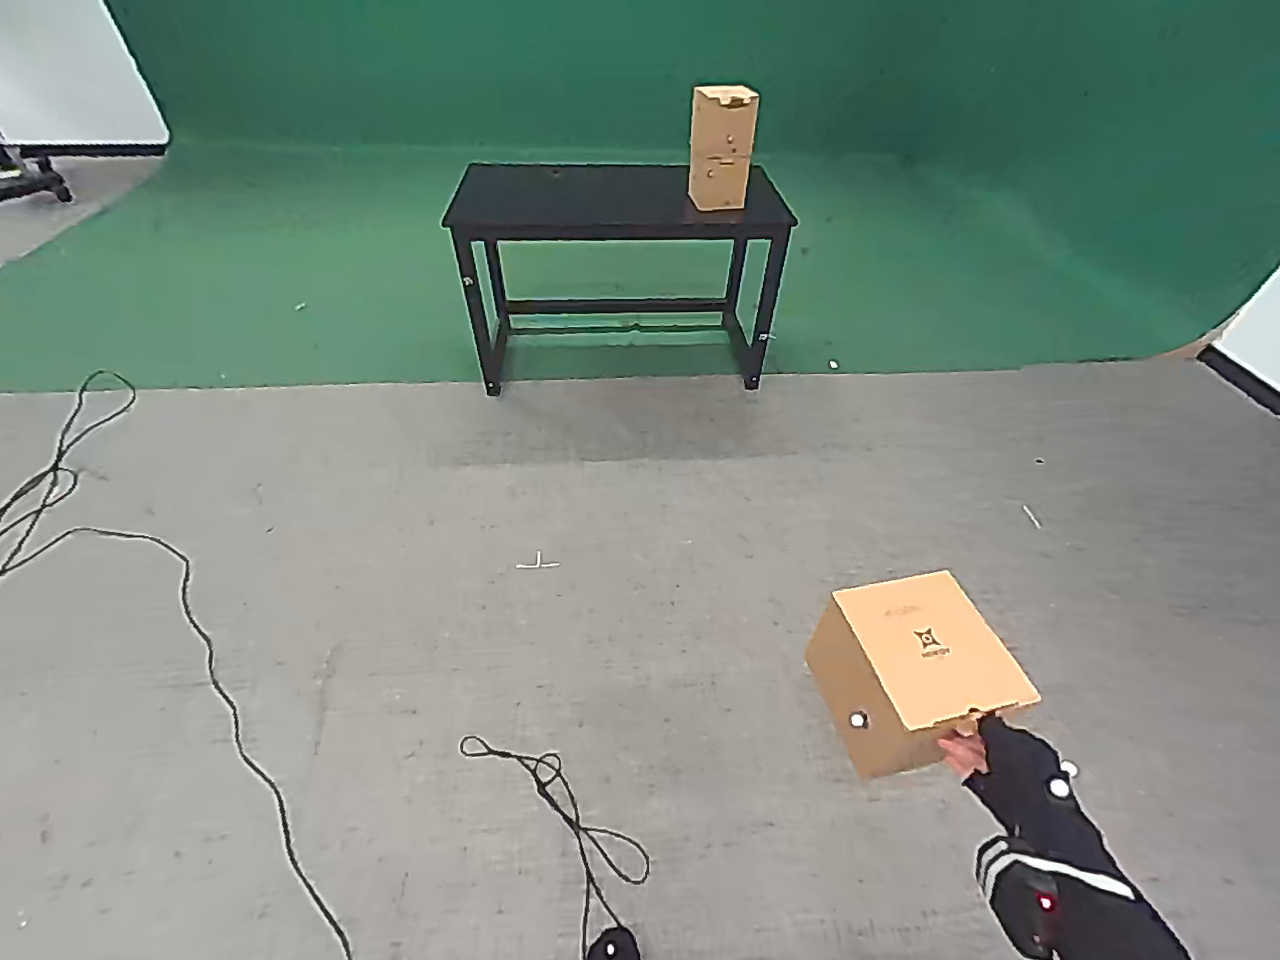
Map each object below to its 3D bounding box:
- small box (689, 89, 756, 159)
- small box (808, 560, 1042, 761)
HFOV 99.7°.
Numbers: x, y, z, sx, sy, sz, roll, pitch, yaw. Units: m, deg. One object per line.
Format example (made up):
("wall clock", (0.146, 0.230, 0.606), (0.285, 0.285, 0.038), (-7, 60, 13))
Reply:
("small box", (0.267, -1.186, 1.802), (0.168, 0.176, 0.179), (-8, 47, -8))
("small box", (0.334, 0.230, 0.678), (0.168, 0.176, 0.179), (-8, 45, -9))
